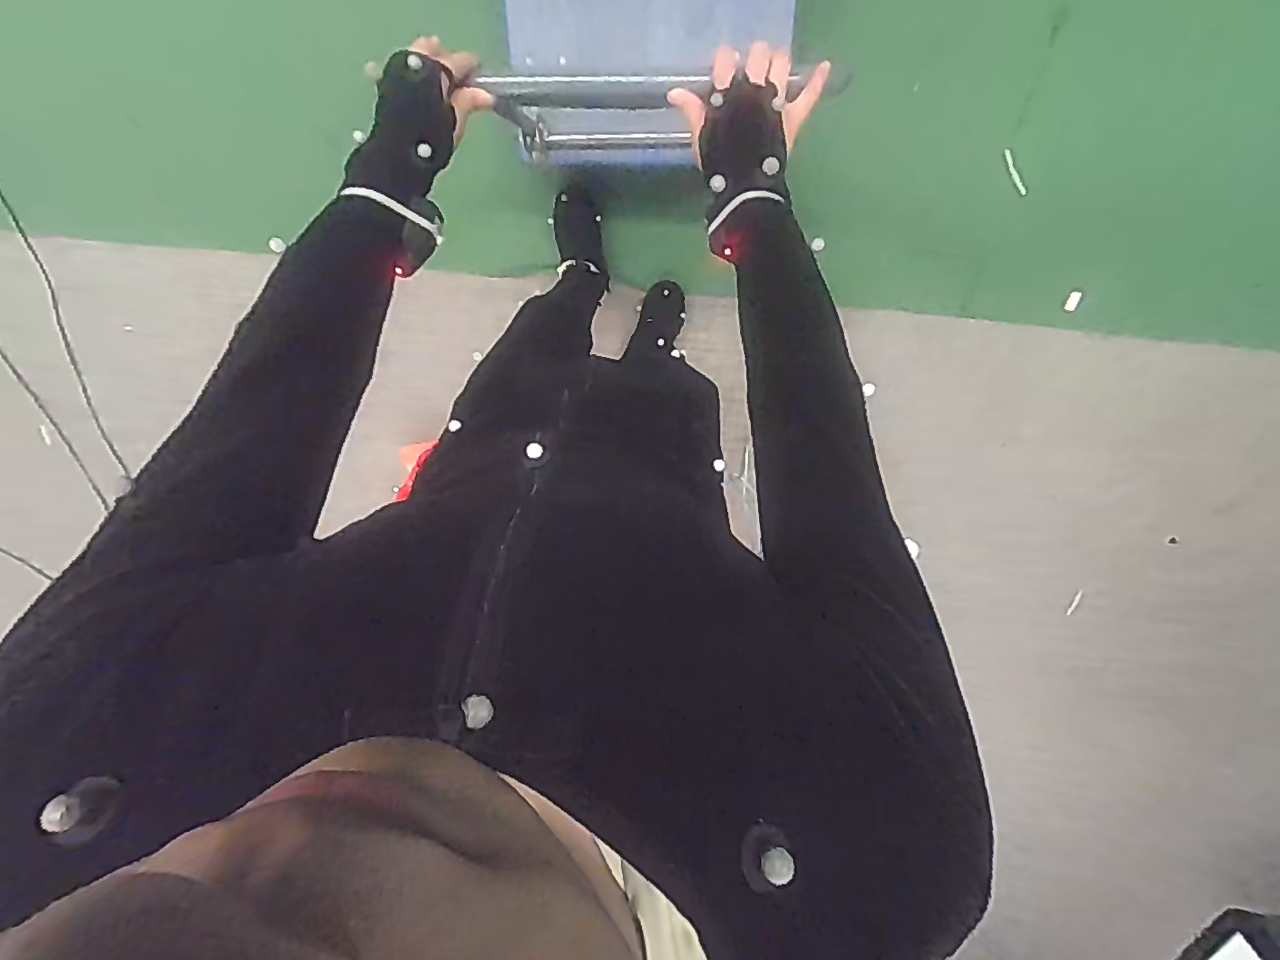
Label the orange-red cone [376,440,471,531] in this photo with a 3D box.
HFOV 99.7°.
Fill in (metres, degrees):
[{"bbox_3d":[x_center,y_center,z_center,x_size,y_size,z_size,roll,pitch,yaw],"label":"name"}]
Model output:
[{"bbox_3d":[-0.663,0.044,1.569,0.199,0.360,0.198,-7,115,8],"label":"orange-red cone"}]
